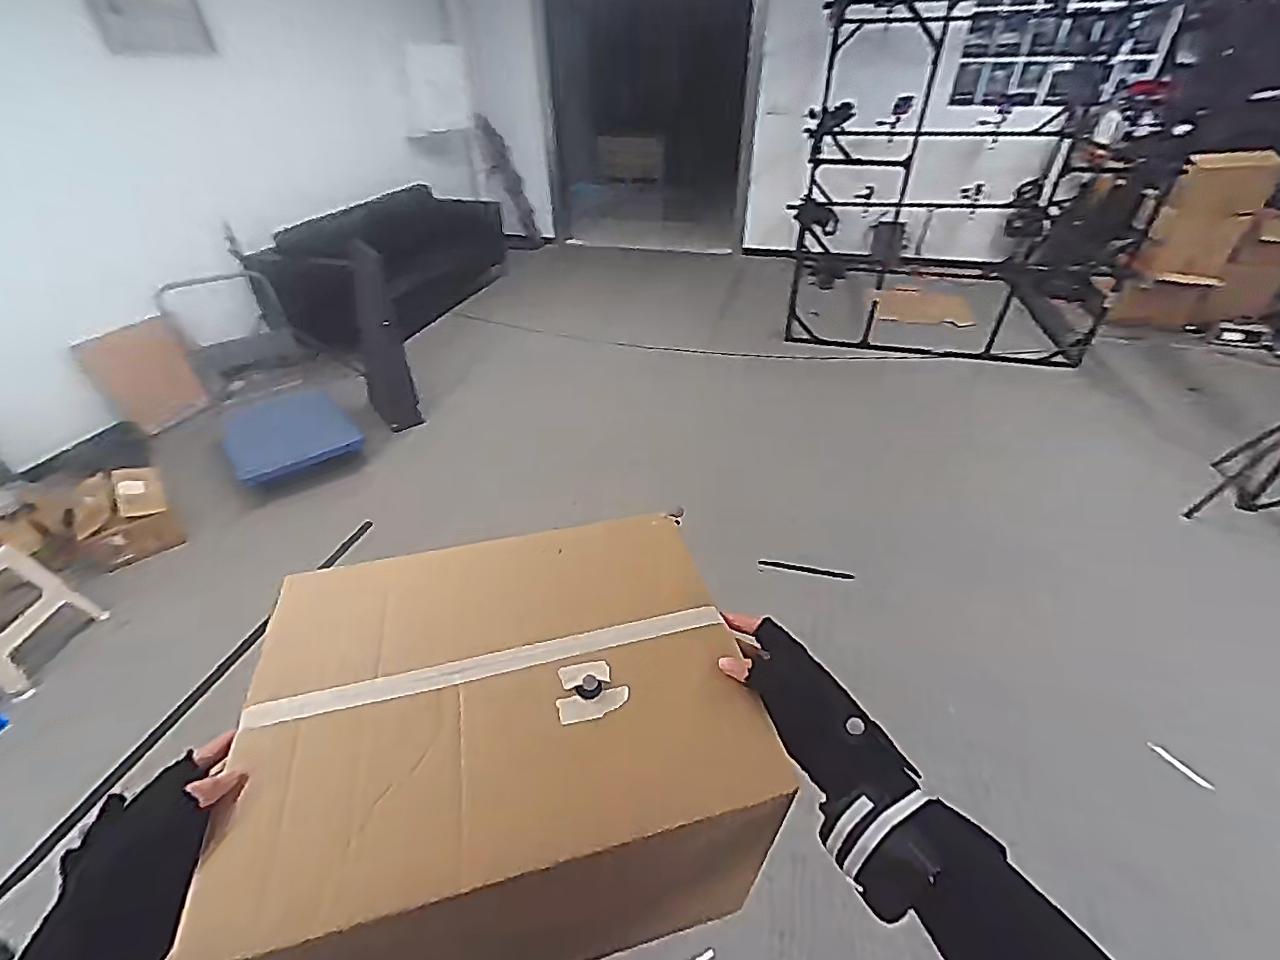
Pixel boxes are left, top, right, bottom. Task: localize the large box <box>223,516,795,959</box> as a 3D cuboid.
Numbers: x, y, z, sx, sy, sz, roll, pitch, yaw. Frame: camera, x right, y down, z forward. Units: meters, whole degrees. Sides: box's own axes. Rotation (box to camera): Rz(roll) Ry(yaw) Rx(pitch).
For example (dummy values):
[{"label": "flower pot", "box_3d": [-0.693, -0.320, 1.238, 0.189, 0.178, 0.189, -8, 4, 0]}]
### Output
[{"label": "large box", "box_3d": [-0.112, 0.279, 0.577, 0.408, 0.320, 0.320, -8, 40, -13]}]
